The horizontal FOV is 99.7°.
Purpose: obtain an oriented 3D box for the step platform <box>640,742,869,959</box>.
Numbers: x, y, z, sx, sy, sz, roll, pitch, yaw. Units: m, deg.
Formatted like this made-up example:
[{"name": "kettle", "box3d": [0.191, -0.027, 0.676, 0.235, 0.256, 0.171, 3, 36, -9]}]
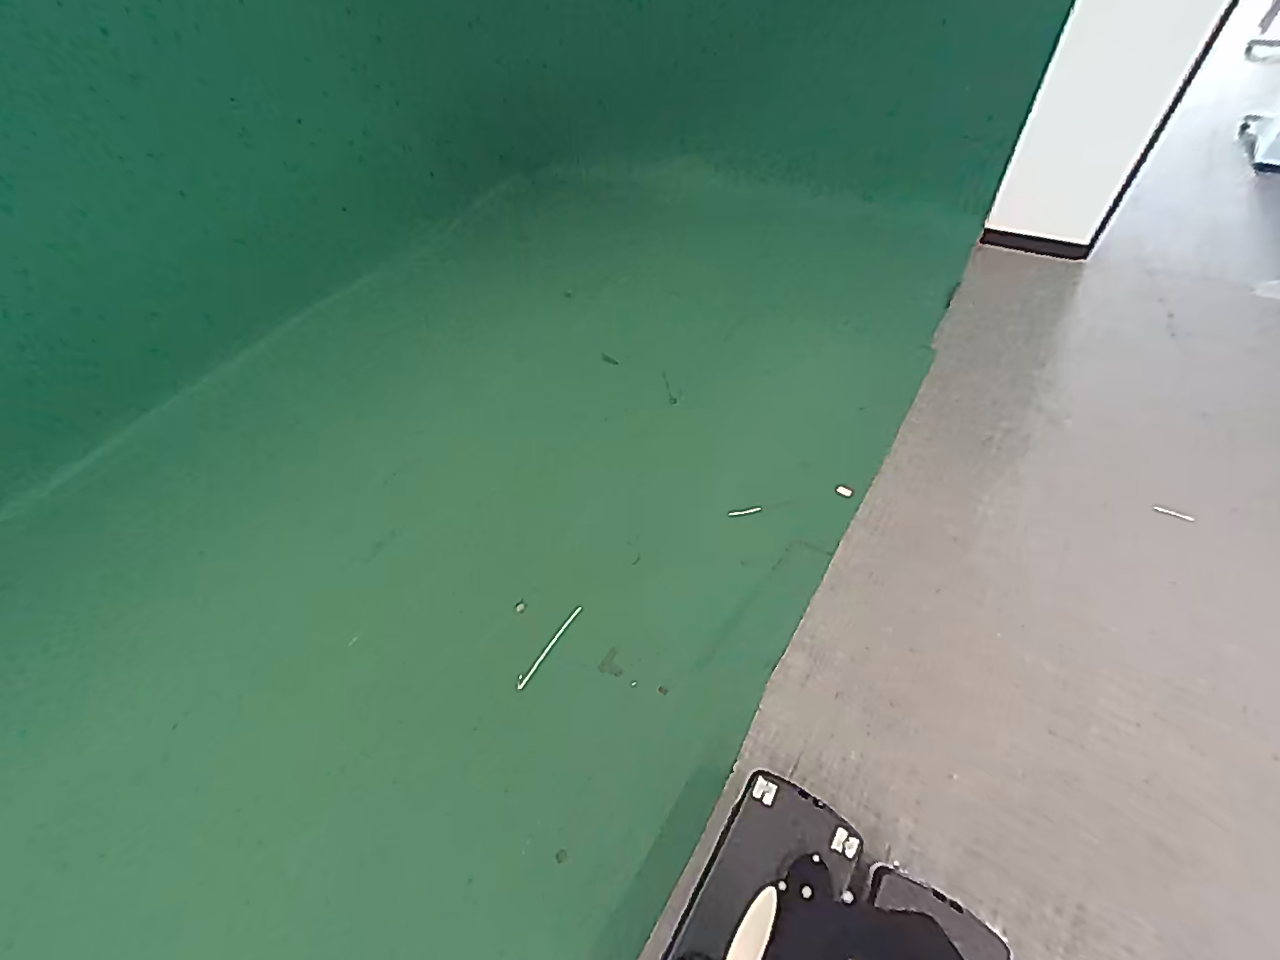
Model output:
[{"name": "step platform", "box3d": [0.177, 0.886, 1.029, 0.286, 0.204, 0.684, 25, 61, 23]}]
